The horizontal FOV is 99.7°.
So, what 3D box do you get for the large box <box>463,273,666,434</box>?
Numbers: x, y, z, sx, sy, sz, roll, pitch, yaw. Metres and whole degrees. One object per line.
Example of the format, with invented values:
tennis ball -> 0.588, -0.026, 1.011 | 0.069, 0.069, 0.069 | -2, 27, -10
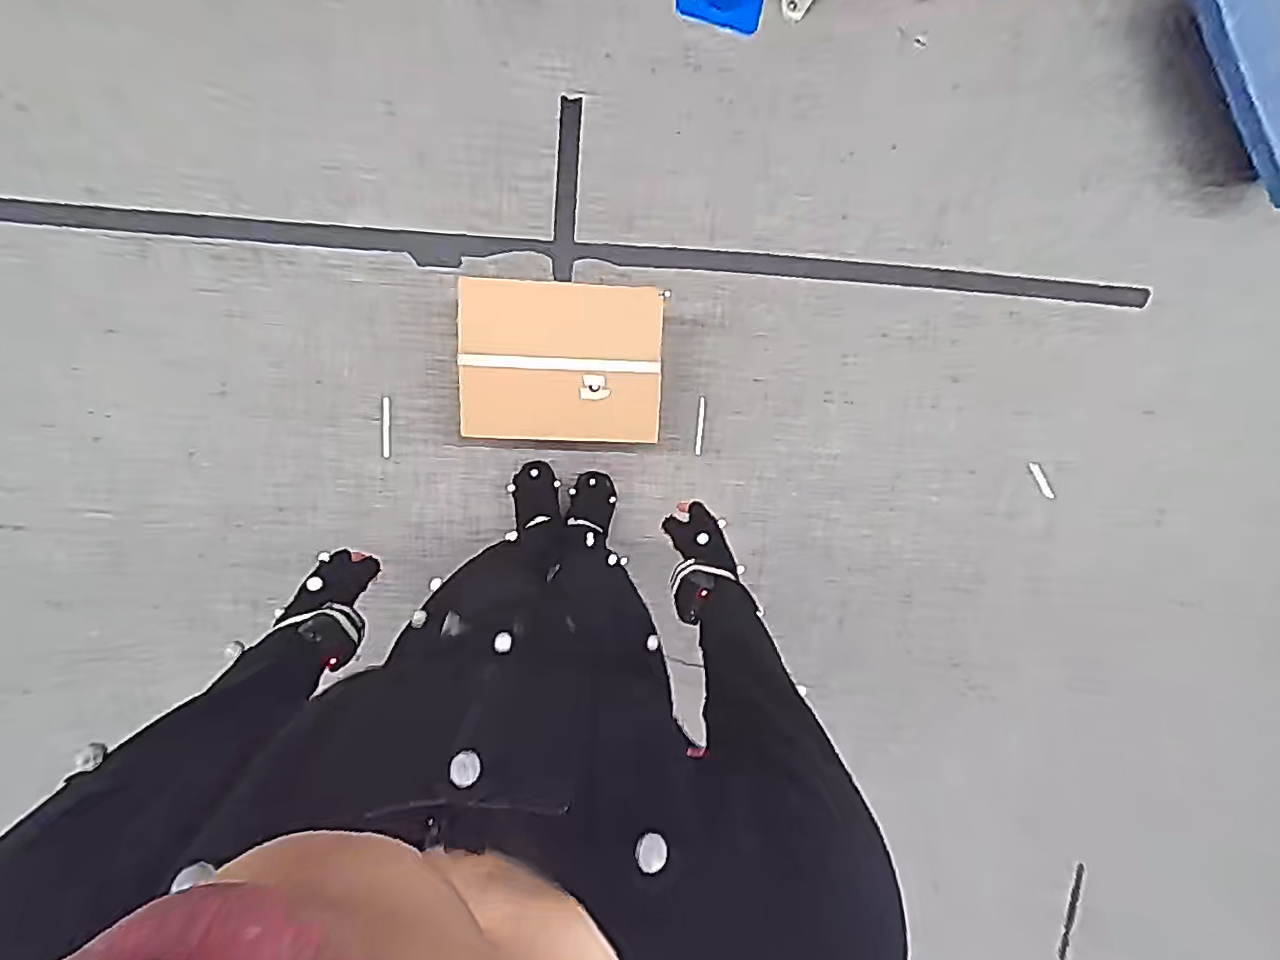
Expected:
large box -> -0.168, -0.274, 1.234 | 0.408, 0.320, 0.320 | 1, 101, -7
